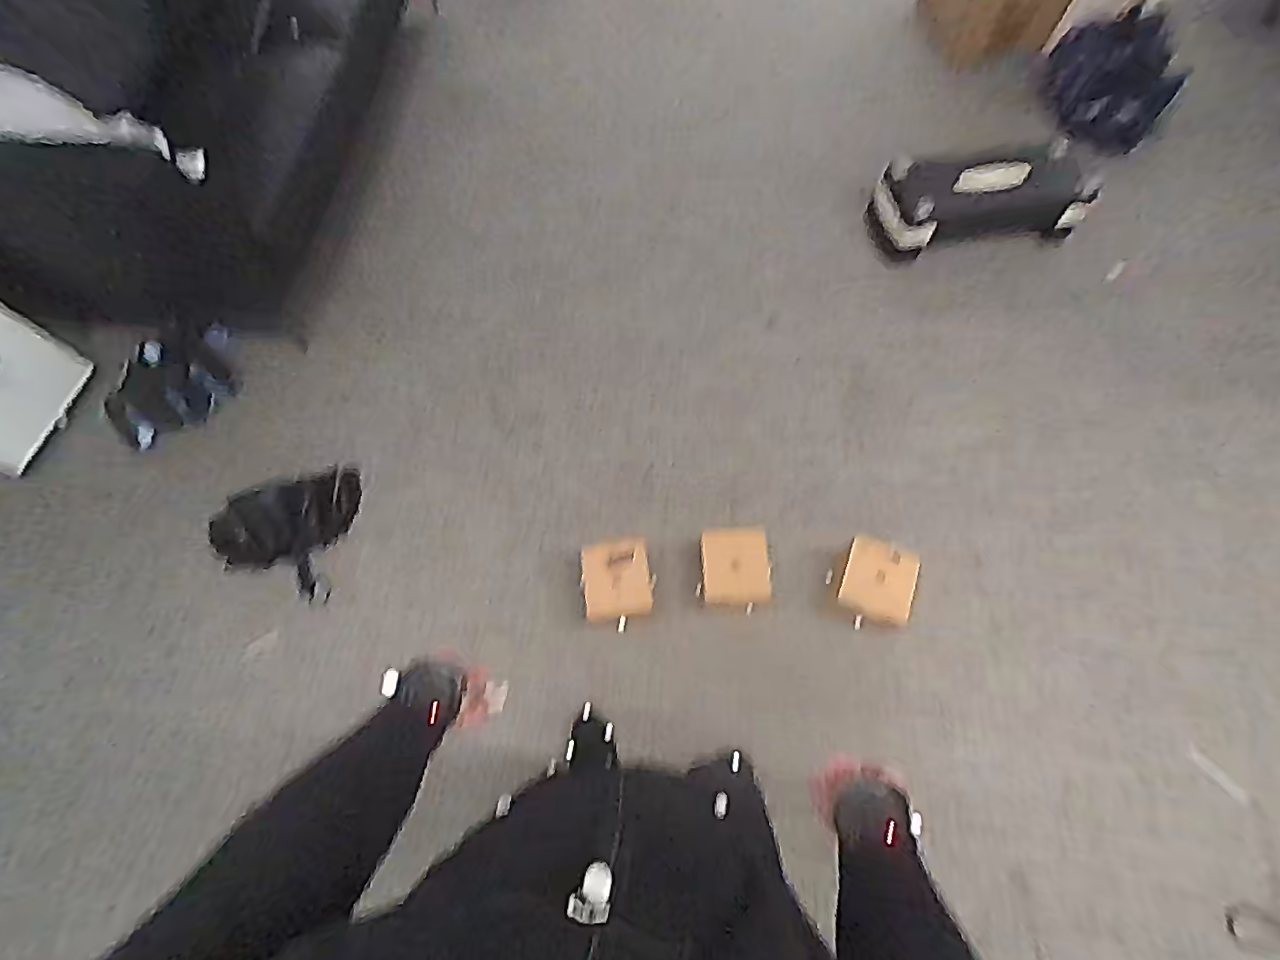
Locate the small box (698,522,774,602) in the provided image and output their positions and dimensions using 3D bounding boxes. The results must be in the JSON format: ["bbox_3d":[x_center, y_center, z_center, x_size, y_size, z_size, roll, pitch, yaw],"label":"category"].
[{"bbox_3d":[0.246,0.221,1.422,0.168,0.176,0.179,-3,66,0],"label":"small box"}]

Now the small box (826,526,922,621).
[{"bbox_3d":[0.593,0.246,1.390,0.168,0.176,0.179,20,70,12],"label":"small box"}]

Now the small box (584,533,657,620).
[{"bbox_3d":[-0.050,0.257,1.418,0.168,0.176,0.179,-9,67,-1],"label":"small box"}]
